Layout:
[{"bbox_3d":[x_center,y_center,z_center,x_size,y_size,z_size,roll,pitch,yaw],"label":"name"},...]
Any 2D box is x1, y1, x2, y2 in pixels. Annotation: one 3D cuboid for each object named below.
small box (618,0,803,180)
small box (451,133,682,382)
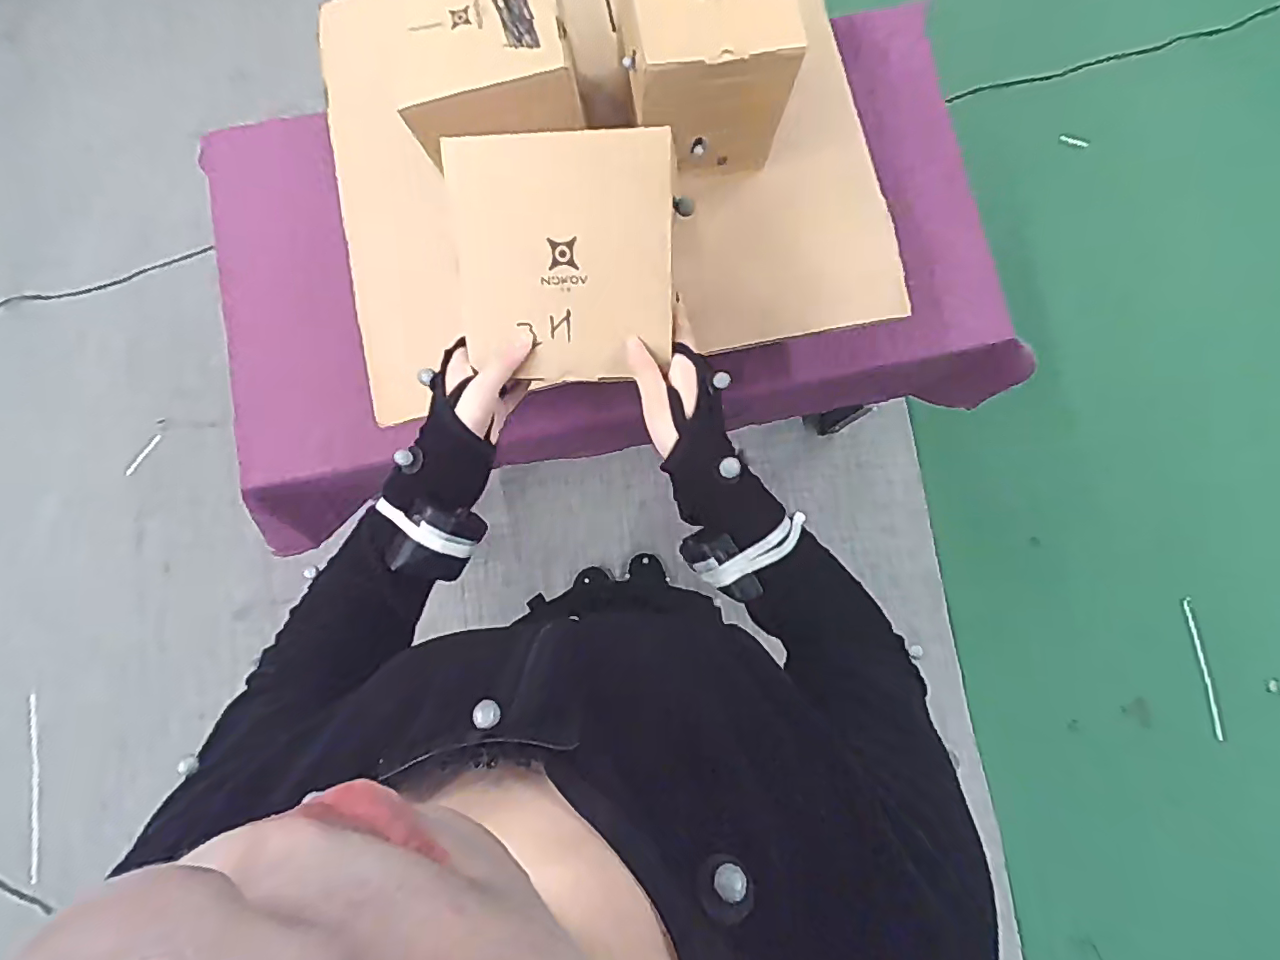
[{"bbox_3d":[0.067,-0.483,0.625,0.168,0.176,0.179,-10,83,-3],"label":"small box"},{"bbox_3d":[-0.049,-0.191,0.486,0.168,0.176,0.179,2,112,6],"label":"small box"}]
